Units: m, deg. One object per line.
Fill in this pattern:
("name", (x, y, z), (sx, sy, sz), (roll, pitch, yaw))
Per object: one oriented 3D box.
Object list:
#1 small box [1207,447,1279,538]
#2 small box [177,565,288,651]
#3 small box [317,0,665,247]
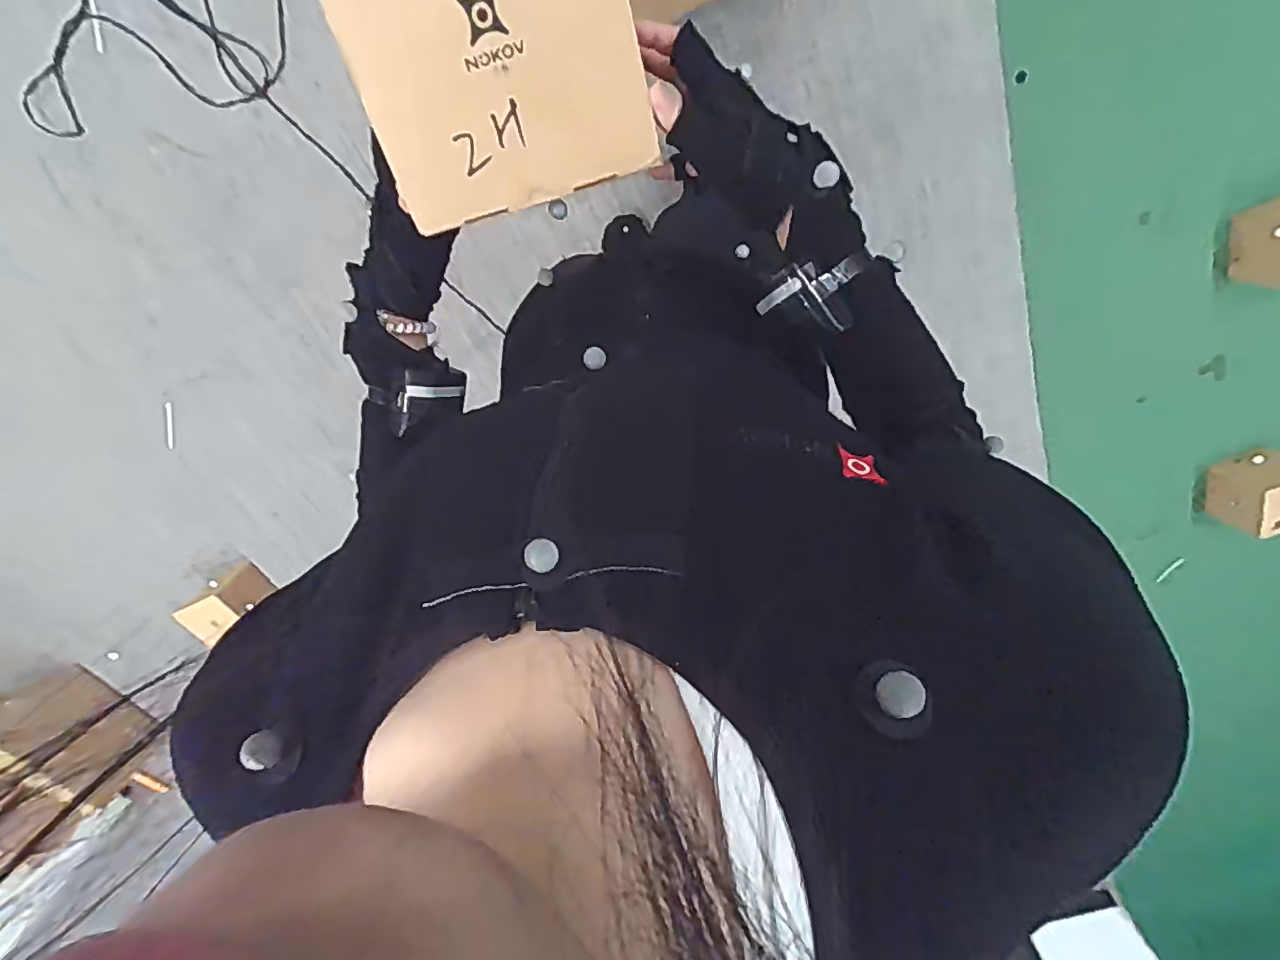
("small box", (1.809, 0.034, 1.564), (0.168, 0.176, 0.179), (-21, 116, 9))
("small box", (-1.250, 0.386, 1.671), (0.168, 0.176, 0.179), (-24, 117, 10))
("small box", (-0.087, -0.278, 0.370), (0.168, 0.176, 0.179), (-14, 120, 5))
